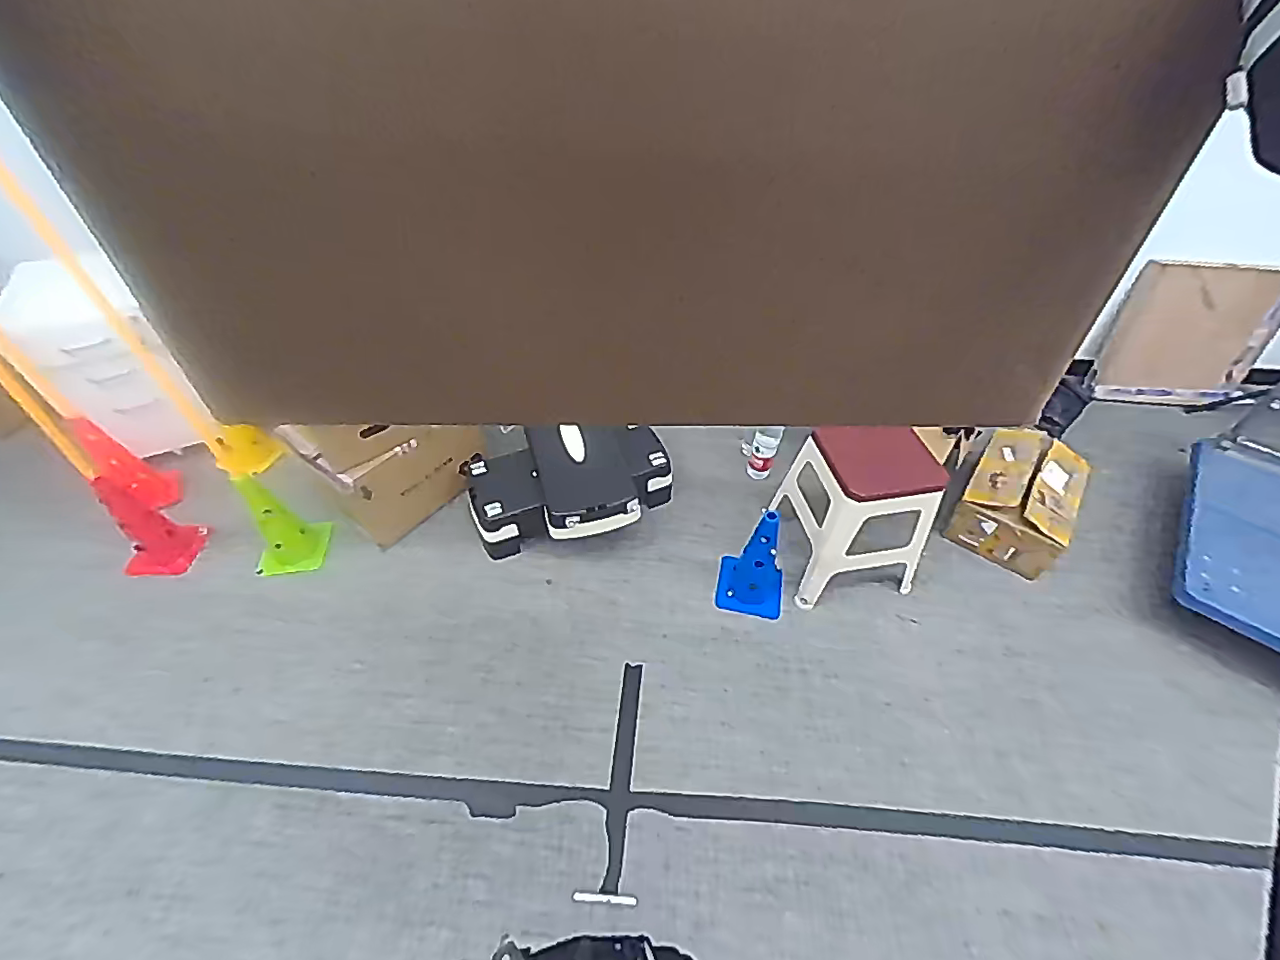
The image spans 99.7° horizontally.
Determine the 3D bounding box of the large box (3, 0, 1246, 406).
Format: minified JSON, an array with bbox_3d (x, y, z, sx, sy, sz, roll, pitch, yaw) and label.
[{"bbox_3d":[-0.005,-0.247,0.281,0.408,0.320,0.320,1,43,-1],"label":"large box"}]
